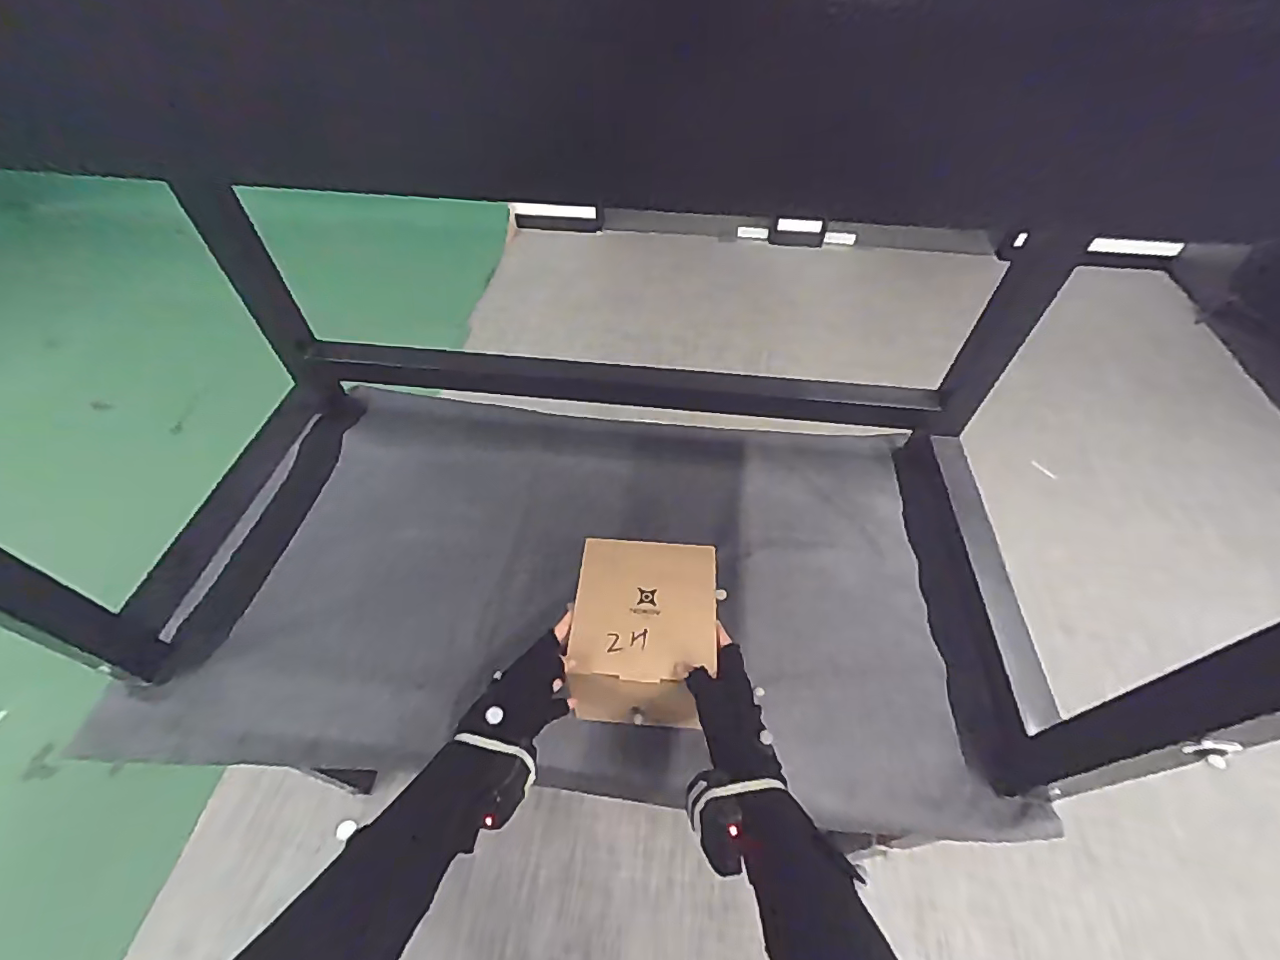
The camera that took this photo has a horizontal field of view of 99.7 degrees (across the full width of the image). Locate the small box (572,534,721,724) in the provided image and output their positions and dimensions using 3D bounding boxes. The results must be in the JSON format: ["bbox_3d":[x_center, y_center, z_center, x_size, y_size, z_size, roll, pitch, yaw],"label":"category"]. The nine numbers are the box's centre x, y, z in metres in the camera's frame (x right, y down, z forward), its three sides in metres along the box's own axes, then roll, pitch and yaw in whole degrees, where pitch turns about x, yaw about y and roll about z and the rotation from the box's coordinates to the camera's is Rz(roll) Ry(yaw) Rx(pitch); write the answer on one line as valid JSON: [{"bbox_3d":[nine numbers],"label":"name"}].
[{"bbox_3d":[0.012,0.193,0.698,0.168,0.176,0.179,4,50,3],"label":"small box"}]
